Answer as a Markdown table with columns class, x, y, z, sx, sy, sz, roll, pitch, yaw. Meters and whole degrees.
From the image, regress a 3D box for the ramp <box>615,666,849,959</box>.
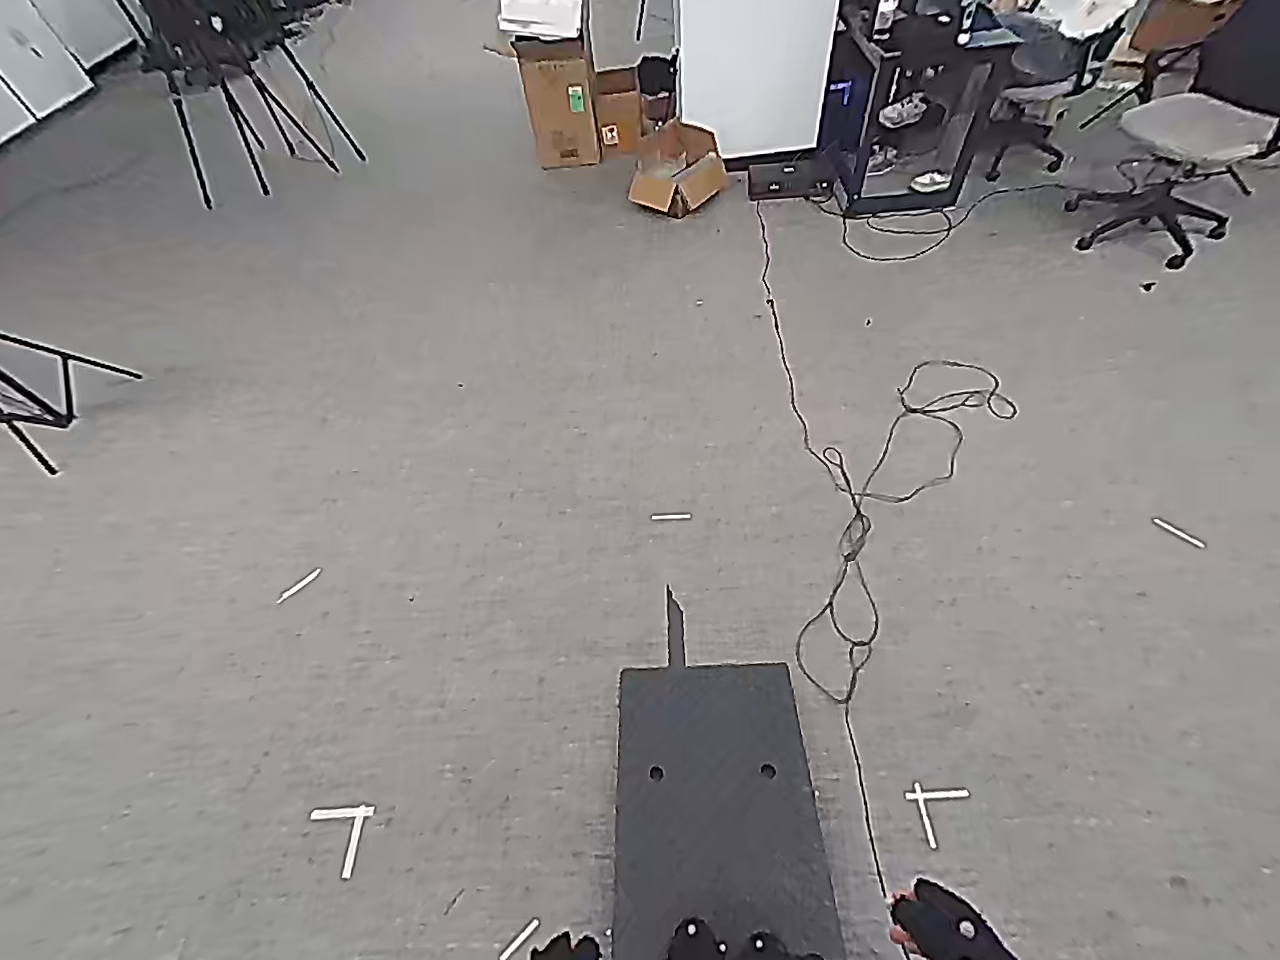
| class | x | y | z | sx | sy | sz | roll | pitch | yaw |
| --- | --- | --- | --- | --- | --- | --- | --- | --- | --- |
| ramp | 0.187 | 0.903 | 1.230 | 0.509 | 0.206 | 0.991 | -6 | 53 | 4 |
